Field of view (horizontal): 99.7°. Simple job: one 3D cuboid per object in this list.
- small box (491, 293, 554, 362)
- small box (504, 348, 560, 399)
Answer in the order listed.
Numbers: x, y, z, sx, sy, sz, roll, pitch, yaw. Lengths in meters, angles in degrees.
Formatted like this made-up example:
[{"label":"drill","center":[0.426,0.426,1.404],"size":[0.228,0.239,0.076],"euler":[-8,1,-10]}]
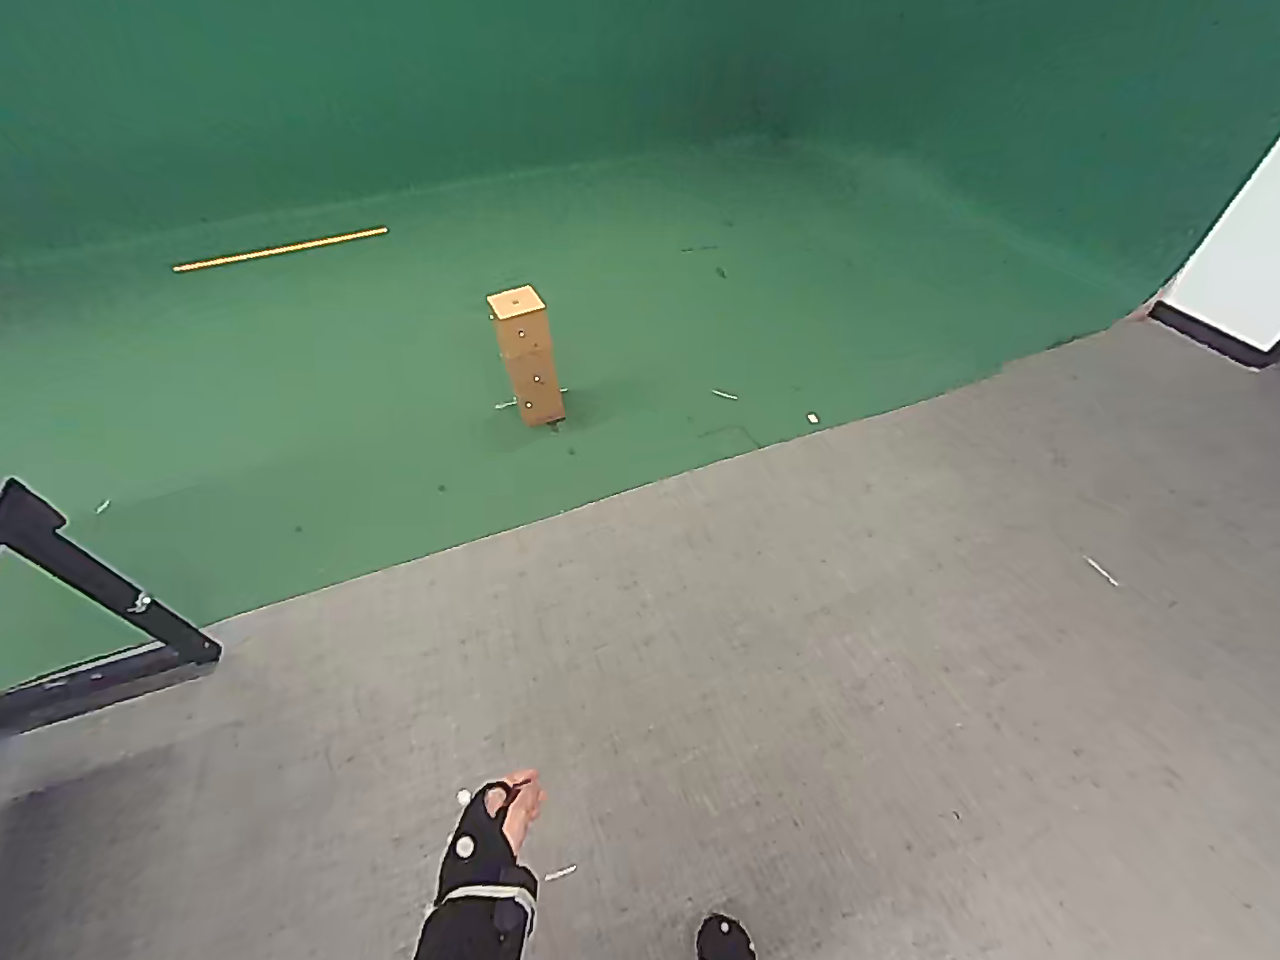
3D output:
[{"label":"small box","center":[-0.425,-0.550,1.977],"size":[0.168,0.176,0.179],"euler":[-21,49,-15]},{"label":"small box","center":[-0.420,-0.443,2.098],"size":[0.168,0.176,0.179],"euler":[-20,49,-14]}]
